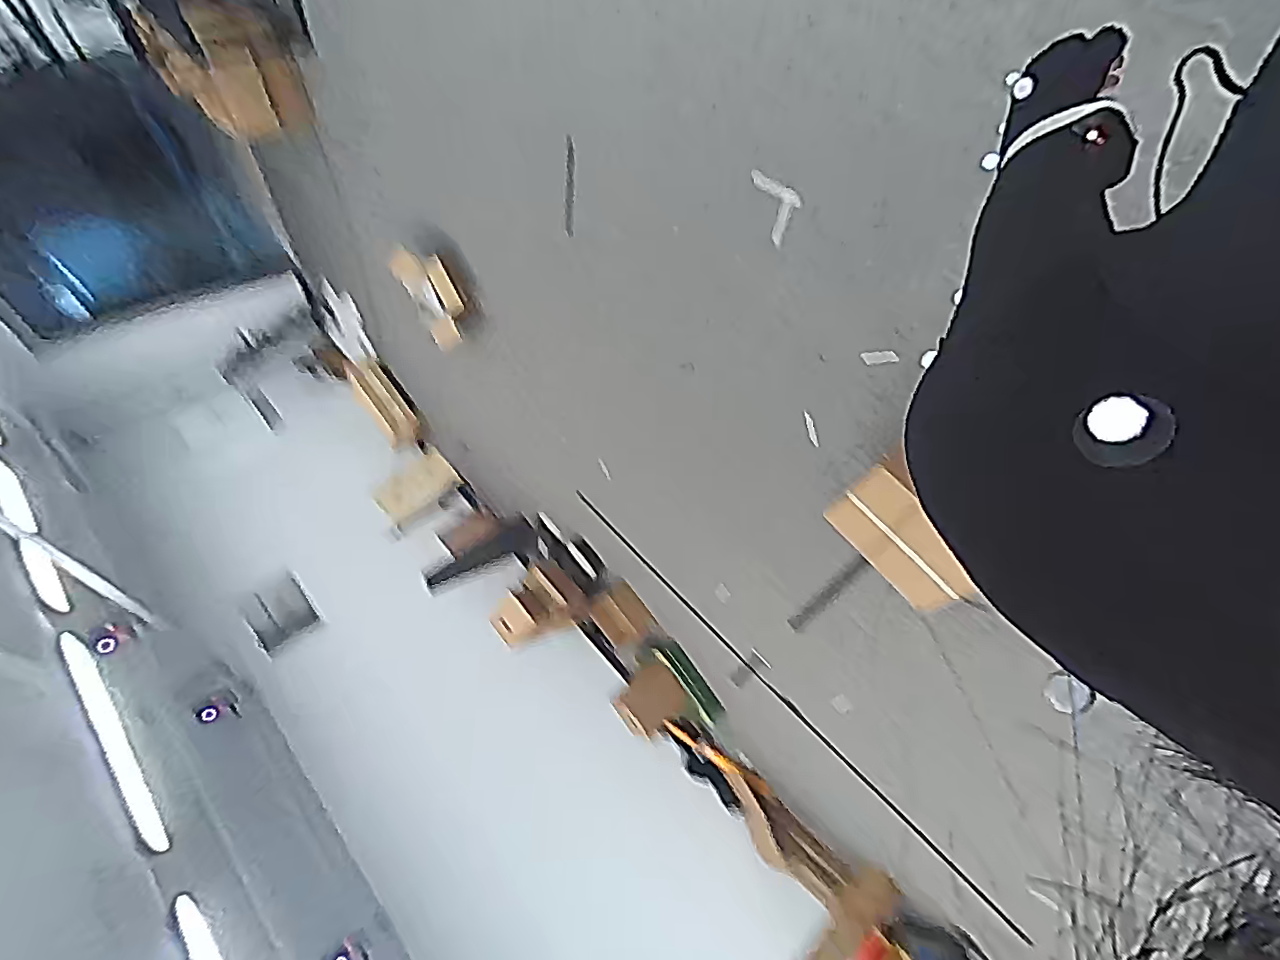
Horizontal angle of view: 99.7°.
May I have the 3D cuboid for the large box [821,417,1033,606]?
[{"bbox_3d":[0.843,0.091,1.617,0.408,0.320,0.320,47,150,13],"label":"large box"}]
